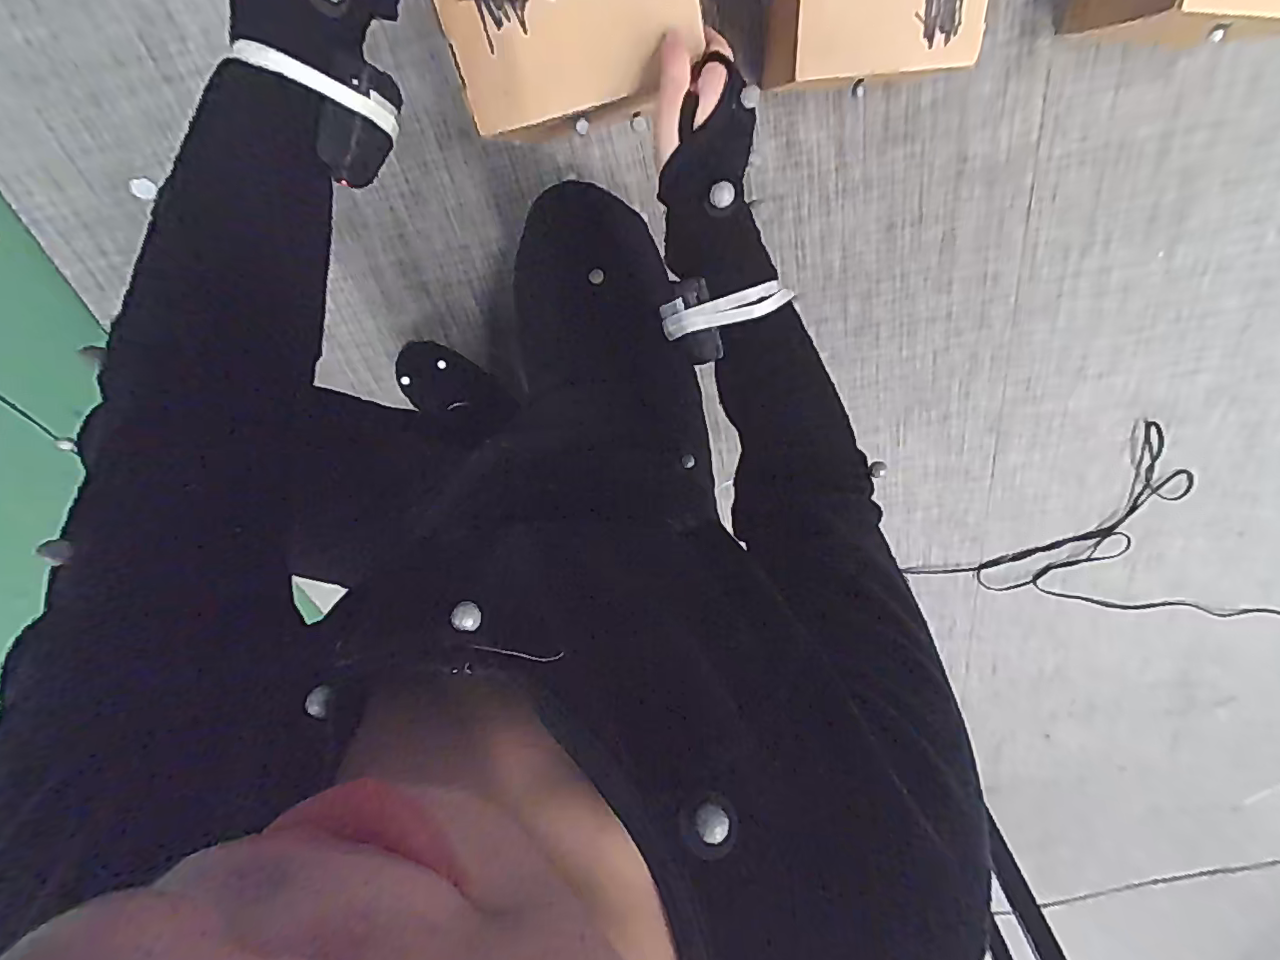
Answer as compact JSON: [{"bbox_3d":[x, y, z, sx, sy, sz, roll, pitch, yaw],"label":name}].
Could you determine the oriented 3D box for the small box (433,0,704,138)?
[{"bbox_3d":[-0.055,-0.379,0.420,0.179,0.176,0.168,-12,122,6],"label":"small box"}]

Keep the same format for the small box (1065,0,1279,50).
[{"bbox_3d":[0.573,-0.531,0.521,0.179,0.176,0.168,2,123,-2],"label":"small box"}]
